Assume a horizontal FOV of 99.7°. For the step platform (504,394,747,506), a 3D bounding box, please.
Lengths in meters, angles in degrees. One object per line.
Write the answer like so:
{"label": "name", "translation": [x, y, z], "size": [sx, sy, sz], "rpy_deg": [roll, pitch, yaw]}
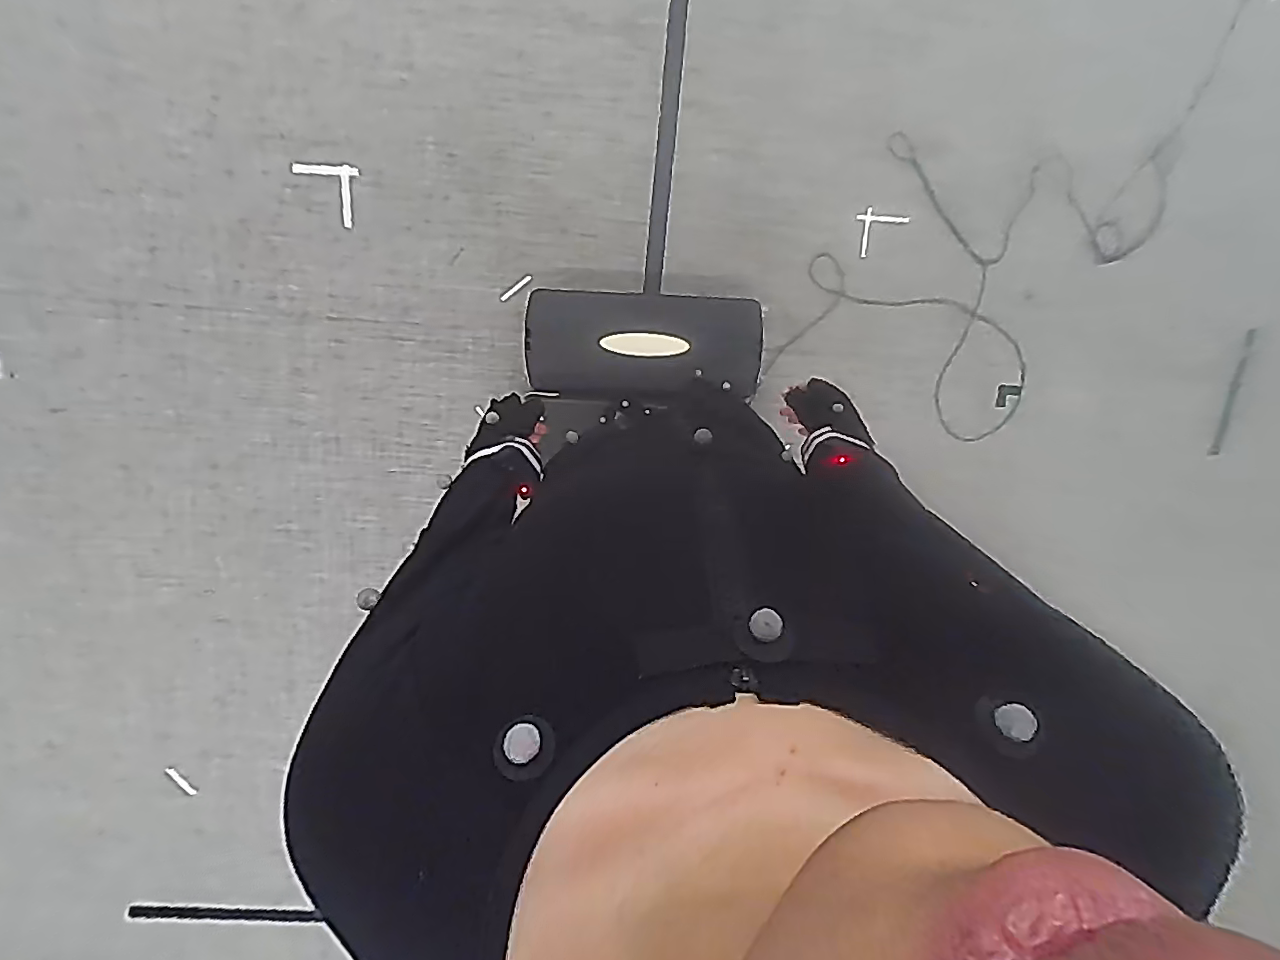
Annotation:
{"label": "step platform", "translation": [-0.040, -0.087, 1.554], "size": [0.684, 0.204, 0.286], "rpy_deg": [3, 100, -2]}
